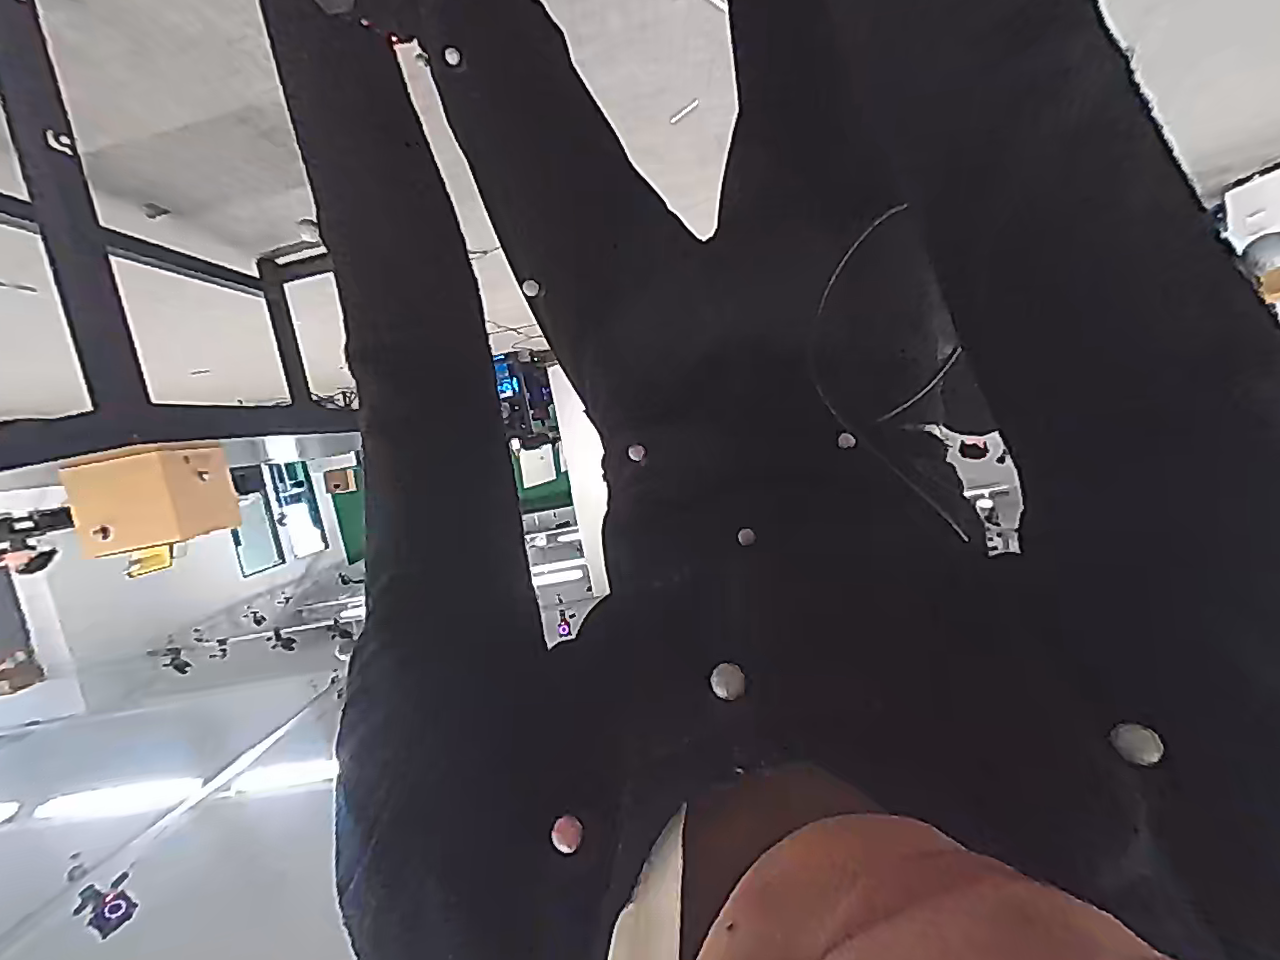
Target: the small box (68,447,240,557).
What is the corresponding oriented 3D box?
[{"bbox_3d":[-0.918,0.034,1.027,0.179,0.176,0.168,-11,-173,-1],"label":"small box"}]
